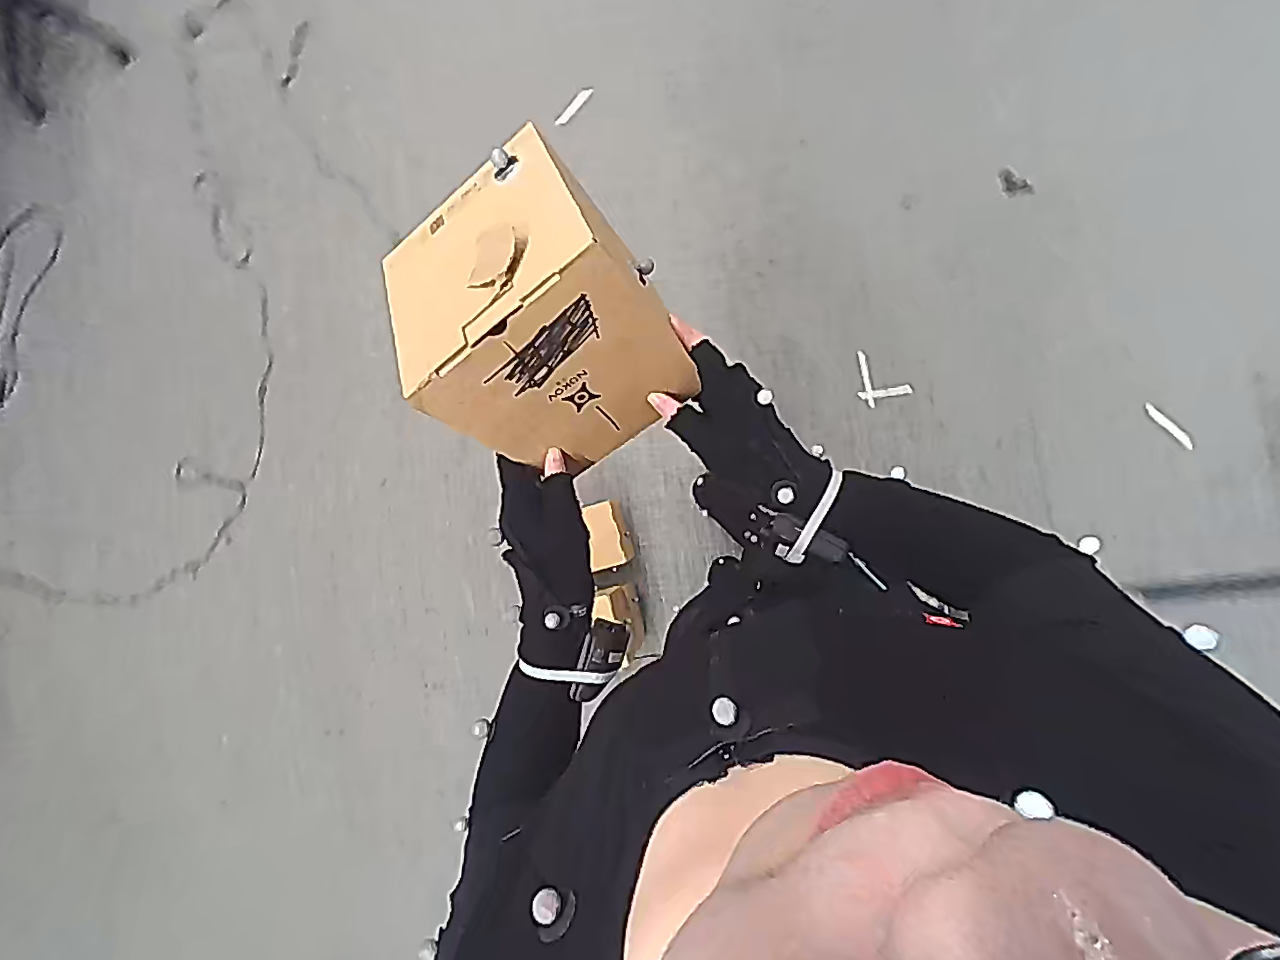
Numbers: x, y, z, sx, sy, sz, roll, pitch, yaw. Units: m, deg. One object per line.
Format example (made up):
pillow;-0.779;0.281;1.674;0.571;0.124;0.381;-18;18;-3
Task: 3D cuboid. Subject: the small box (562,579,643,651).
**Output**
small box;-0.093;0.369;1.444;0.179;0.176;0.168;-14;85;6

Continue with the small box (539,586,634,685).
small box;-0.117;0.359;1.281;0.179;0.176;0.168;-18;84;4

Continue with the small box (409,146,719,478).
small box;-0.066;-0.136;0.447;0.168;0.179;0.176;-32;57;16

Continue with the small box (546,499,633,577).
small box;-0.131;0.156;1.461;0.179;0.176;0.168;-17;85;5
